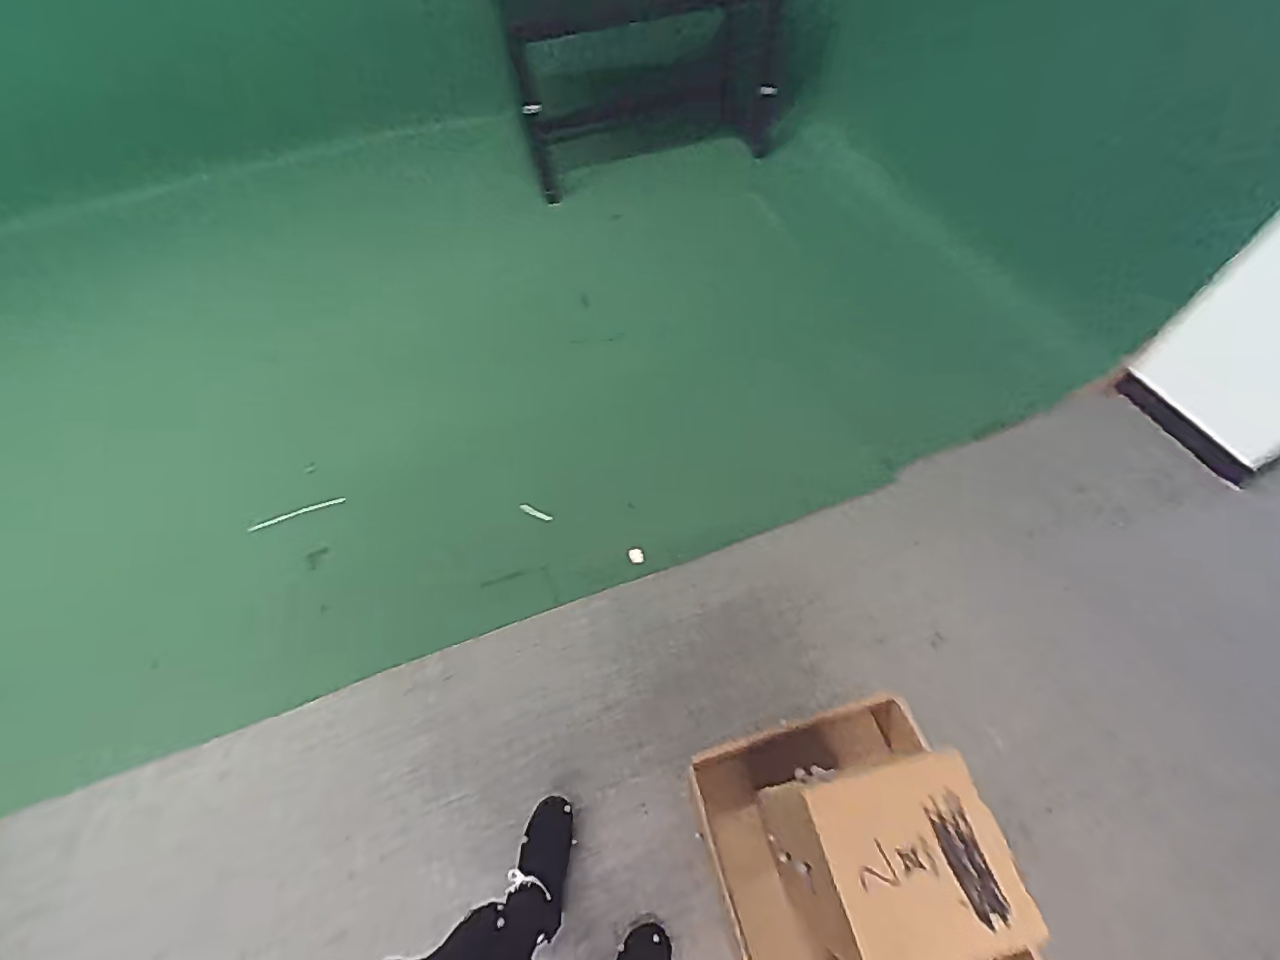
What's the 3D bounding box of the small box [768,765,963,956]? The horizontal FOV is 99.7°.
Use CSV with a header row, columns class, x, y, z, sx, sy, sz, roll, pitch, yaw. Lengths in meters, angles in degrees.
class,x,y,z,sx,sy,sz,roll,pitch,yaw
small box,0.284,0.505,0.736,0.179,0.176,0.168,-14,59,-4
